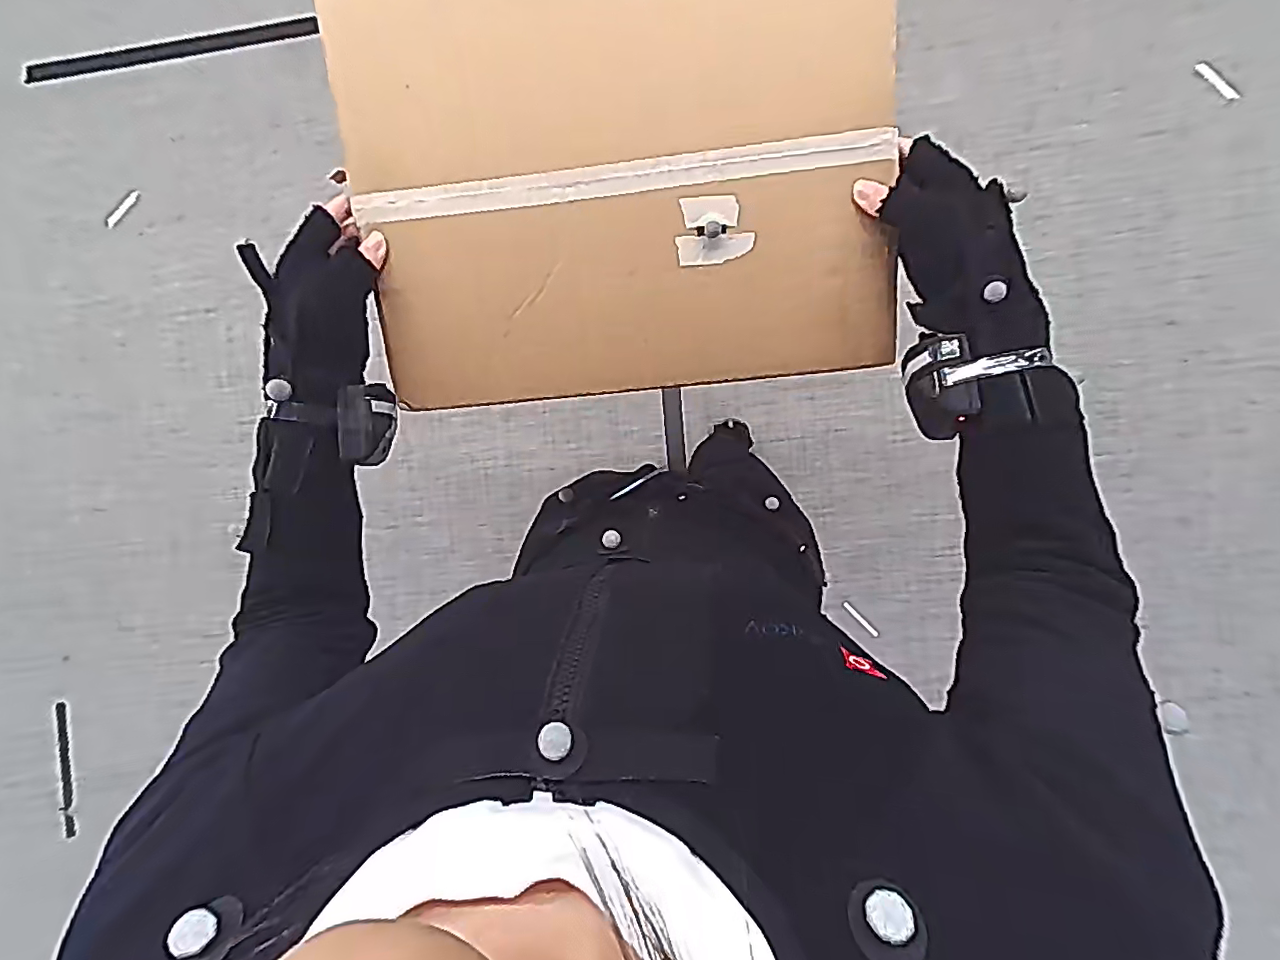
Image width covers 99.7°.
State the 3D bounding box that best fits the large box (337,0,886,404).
[{"bbox_3d":[-0.009,-0.268,0.564,0.408,0.320,0.320,-5,104,3],"label":"large box"}]
